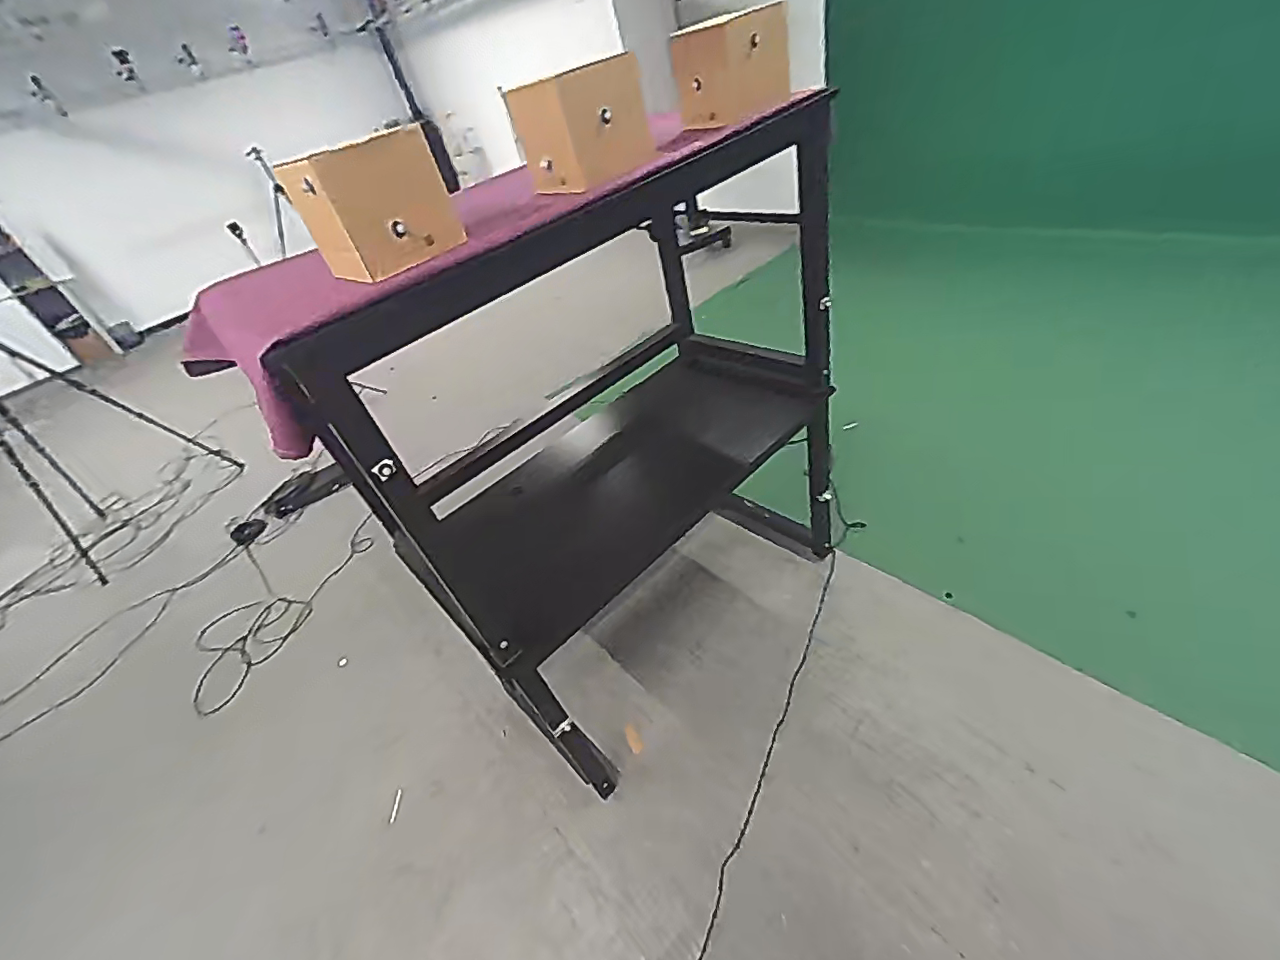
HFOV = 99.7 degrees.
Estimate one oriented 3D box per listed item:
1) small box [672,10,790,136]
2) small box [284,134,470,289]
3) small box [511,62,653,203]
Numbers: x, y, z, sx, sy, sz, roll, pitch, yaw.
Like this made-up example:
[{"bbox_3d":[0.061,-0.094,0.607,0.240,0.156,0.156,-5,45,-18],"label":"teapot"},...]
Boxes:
[{"bbox_3d":[0.195,-0.831,1.121,0.179,0.176,0.168,-35,42,-20],"label":"small box"},{"bbox_3d":[-0.398,-0.408,0.833,0.179,0.176,0.168,24,53,40],"label":"small box"},{"bbox_3d":[-0.094,-0.616,0.971,0.179,0.176,0.168,-38,41,-23],"label":"small box"}]
